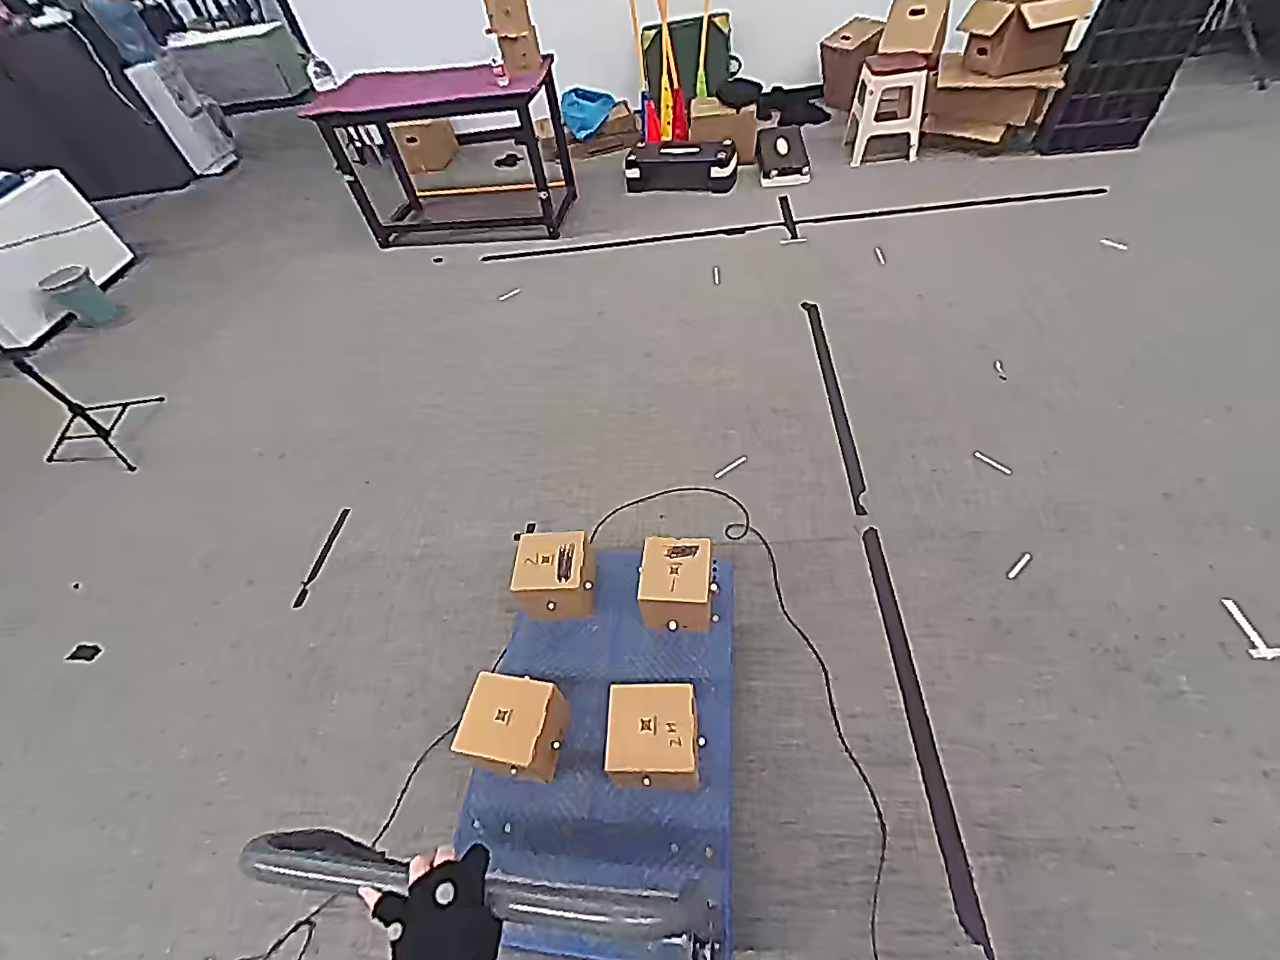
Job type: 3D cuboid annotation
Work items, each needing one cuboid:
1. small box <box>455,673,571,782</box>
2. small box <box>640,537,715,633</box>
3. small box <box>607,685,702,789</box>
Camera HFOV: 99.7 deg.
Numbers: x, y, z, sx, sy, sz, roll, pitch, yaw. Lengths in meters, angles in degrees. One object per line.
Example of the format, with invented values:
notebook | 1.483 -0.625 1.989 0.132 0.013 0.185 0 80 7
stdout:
small box | -0.268 0.545 1.187 0.179 0.176 0.168 5 51 11
small box | 0.100 0.263 1.357 0.168 0.176 0.179 1 52 11
small box | 0.036 0.542 1.136 0.179 0.176 0.168 -3 50 7
